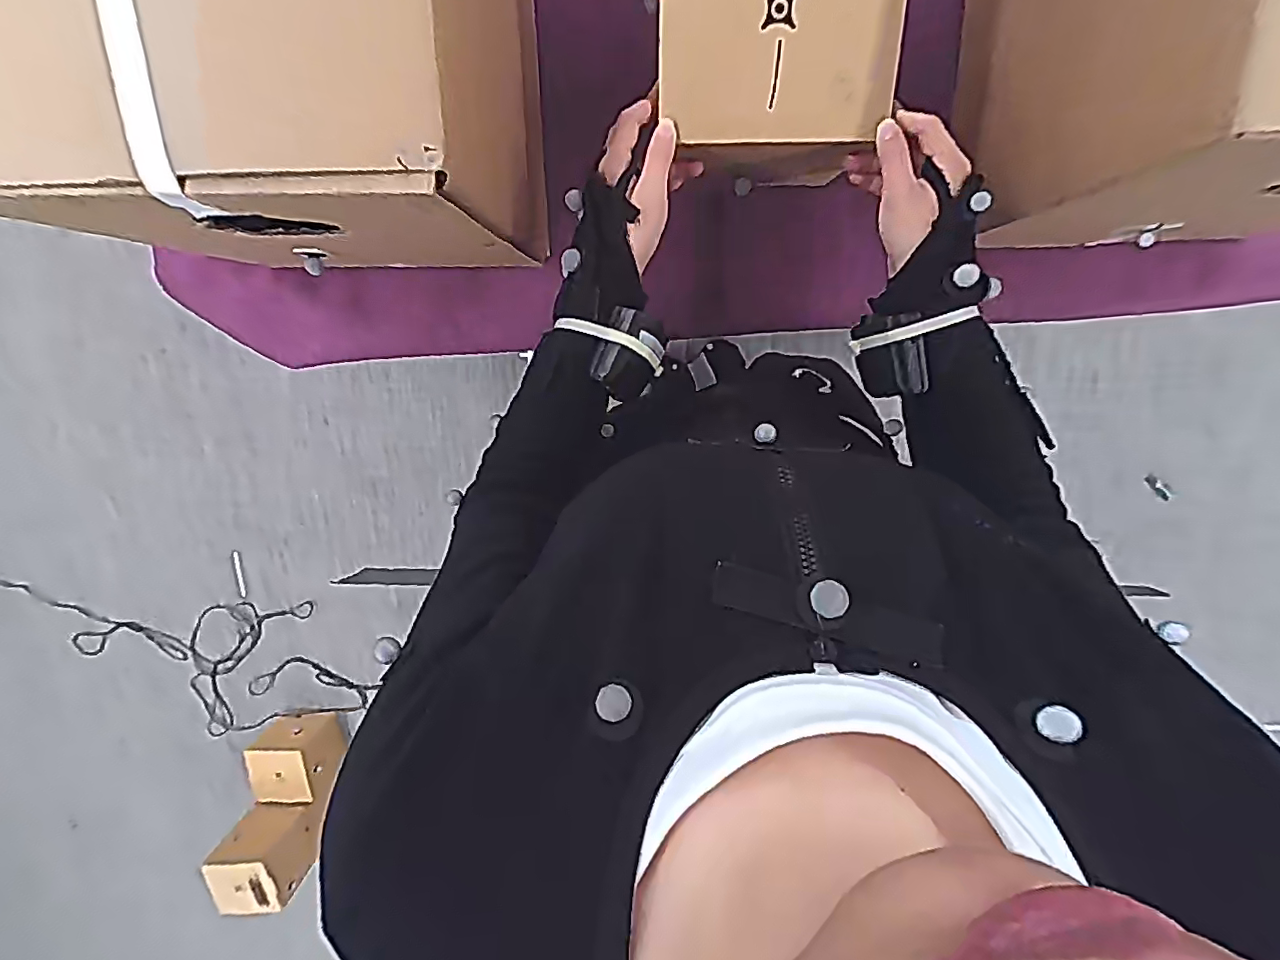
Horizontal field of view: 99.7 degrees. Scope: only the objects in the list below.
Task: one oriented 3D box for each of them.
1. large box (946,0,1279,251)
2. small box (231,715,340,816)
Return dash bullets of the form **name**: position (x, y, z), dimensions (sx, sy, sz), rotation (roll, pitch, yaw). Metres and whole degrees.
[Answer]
- **large box**: position (0.442, -0.399, 0.359), dimensions (0.320, 0.320, 0.408), rotation (-1, 103, 3)
- **small box**: position (-0.981, 0.795, 1.507), dimensions (0.179, 0.176, 0.168), rotation (23, 91, -13)
